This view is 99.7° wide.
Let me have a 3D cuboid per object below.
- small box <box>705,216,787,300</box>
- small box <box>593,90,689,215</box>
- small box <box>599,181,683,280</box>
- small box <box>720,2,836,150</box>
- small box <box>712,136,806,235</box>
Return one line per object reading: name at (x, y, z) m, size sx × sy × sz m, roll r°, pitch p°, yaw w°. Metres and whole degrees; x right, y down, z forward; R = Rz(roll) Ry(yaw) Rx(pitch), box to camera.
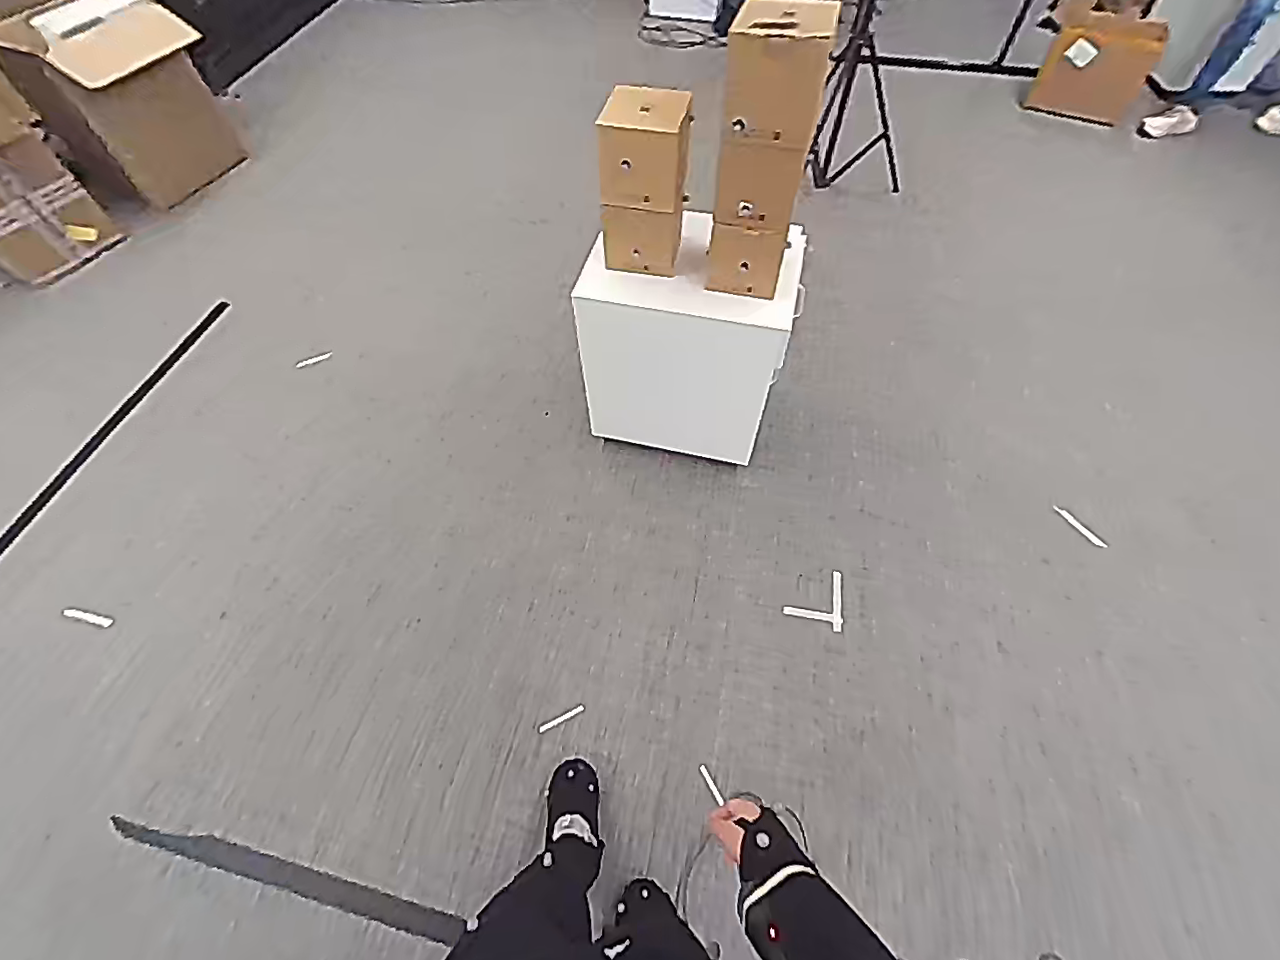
small box at (0.247, -0.544, 1.249) m, size 0.168 × 0.176 × 0.179 m, roll 12°, pitch 60°, yaw 10°
small box at (0.006, -0.696, 1.155) m, size 0.168 × 0.176 × 0.179 m, roll 10°, pitch 58°, yaw 7°
small box at (0.005, -0.612, 1.295) m, size 0.168 × 0.176 × 0.179 m, roll 9°, pitch 59°, yaw 7°
small box at (0.243, -0.725, 0.975) m, size 0.168 × 0.176 × 0.179 m, roll 13°, pitch 57°, yaw 11°
small box at (0.246, -0.639, 1.116) m, size 0.168 × 0.176 × 0.179 m, roll 12°, pitch 59°, yaw 10°
